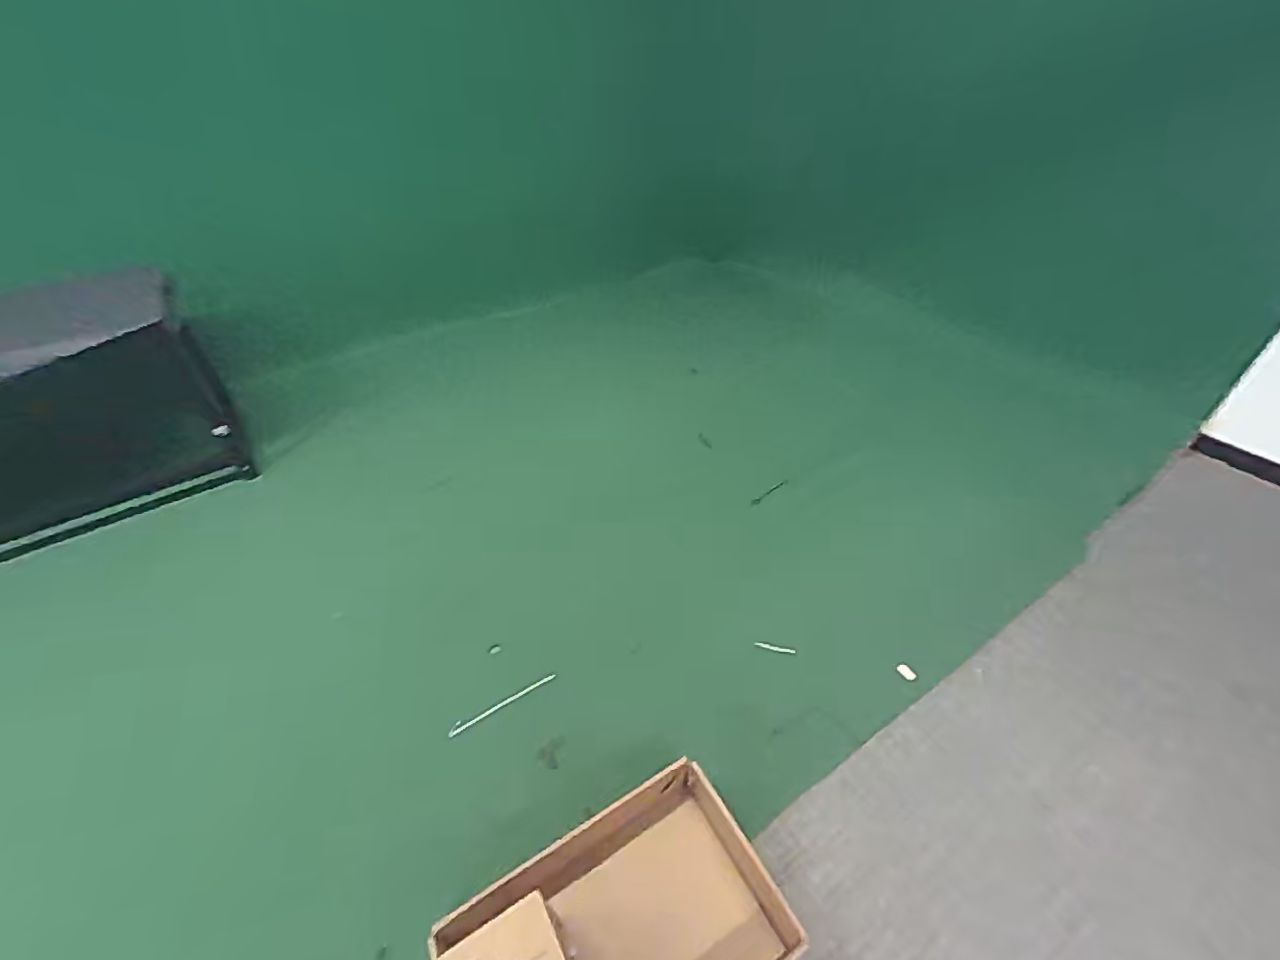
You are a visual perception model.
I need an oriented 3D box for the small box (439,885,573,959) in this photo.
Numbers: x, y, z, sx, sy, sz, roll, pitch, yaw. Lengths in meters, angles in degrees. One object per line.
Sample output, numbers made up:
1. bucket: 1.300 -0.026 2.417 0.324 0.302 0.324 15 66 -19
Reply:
1. small box: -0.203 0.823 0.890 0.179 0.176 0.168 -23 47 -22
